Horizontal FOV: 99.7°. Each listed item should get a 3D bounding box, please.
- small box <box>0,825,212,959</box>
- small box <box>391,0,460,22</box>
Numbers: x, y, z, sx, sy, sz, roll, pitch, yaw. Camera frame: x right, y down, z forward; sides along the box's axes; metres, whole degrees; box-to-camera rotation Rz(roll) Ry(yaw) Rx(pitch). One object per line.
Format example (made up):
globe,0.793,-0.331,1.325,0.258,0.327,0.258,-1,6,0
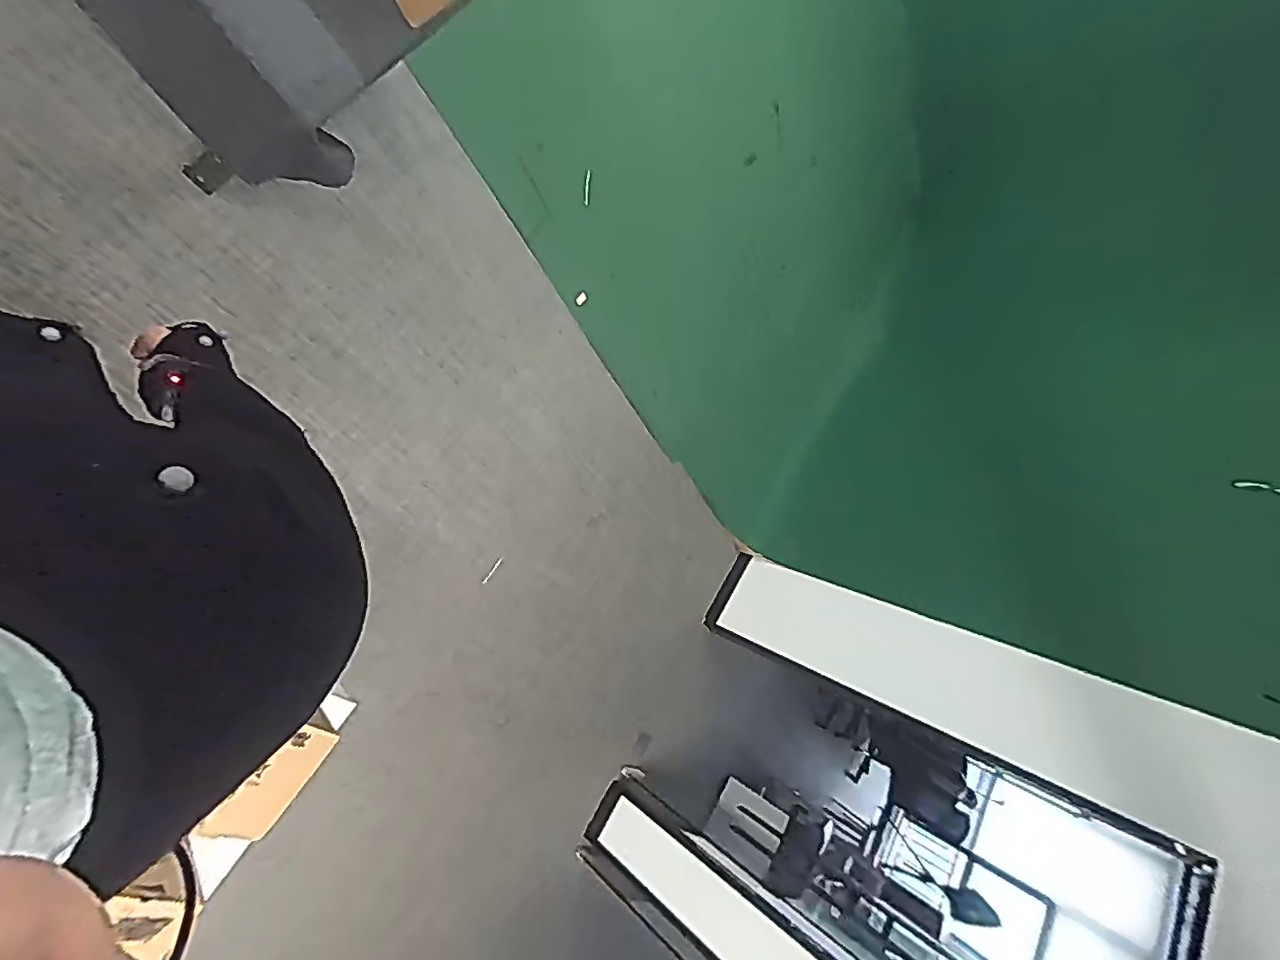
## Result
small box,-0.753,0.621,0.747,0.179,0.176,0.168,-54,134,-20
small box,-0.258,-0.719,0.673,0.168,0.176,0.179,-57,134,-20
